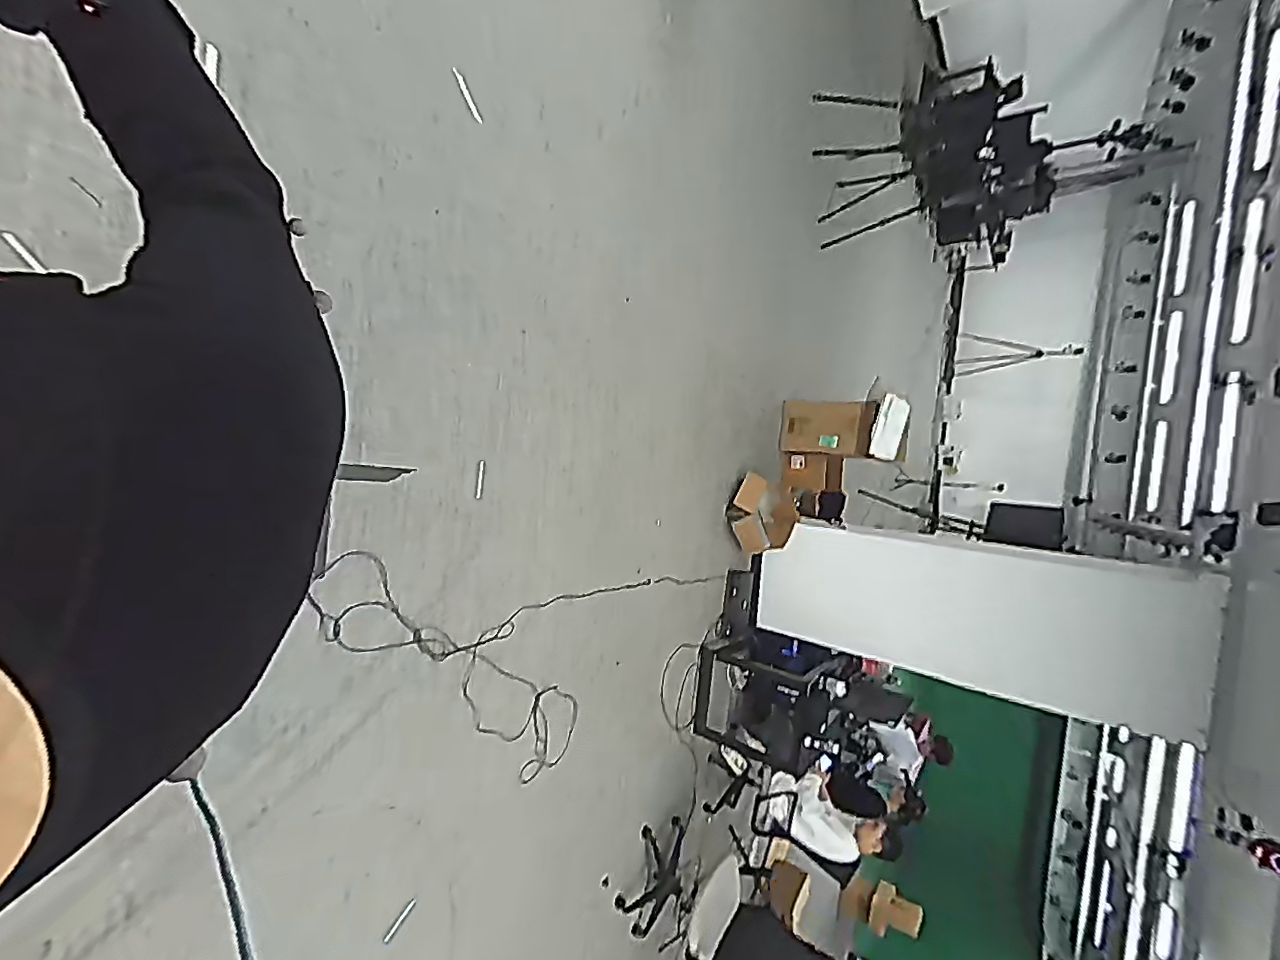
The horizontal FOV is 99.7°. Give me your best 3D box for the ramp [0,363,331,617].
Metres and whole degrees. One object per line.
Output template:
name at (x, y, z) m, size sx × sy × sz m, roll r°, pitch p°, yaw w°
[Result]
ramp at (-1.154, 0.022, 1.154) m, size 0.991 × 0.206 × 0.509 m, roll 0°, pitch 94°, yaw -54°
